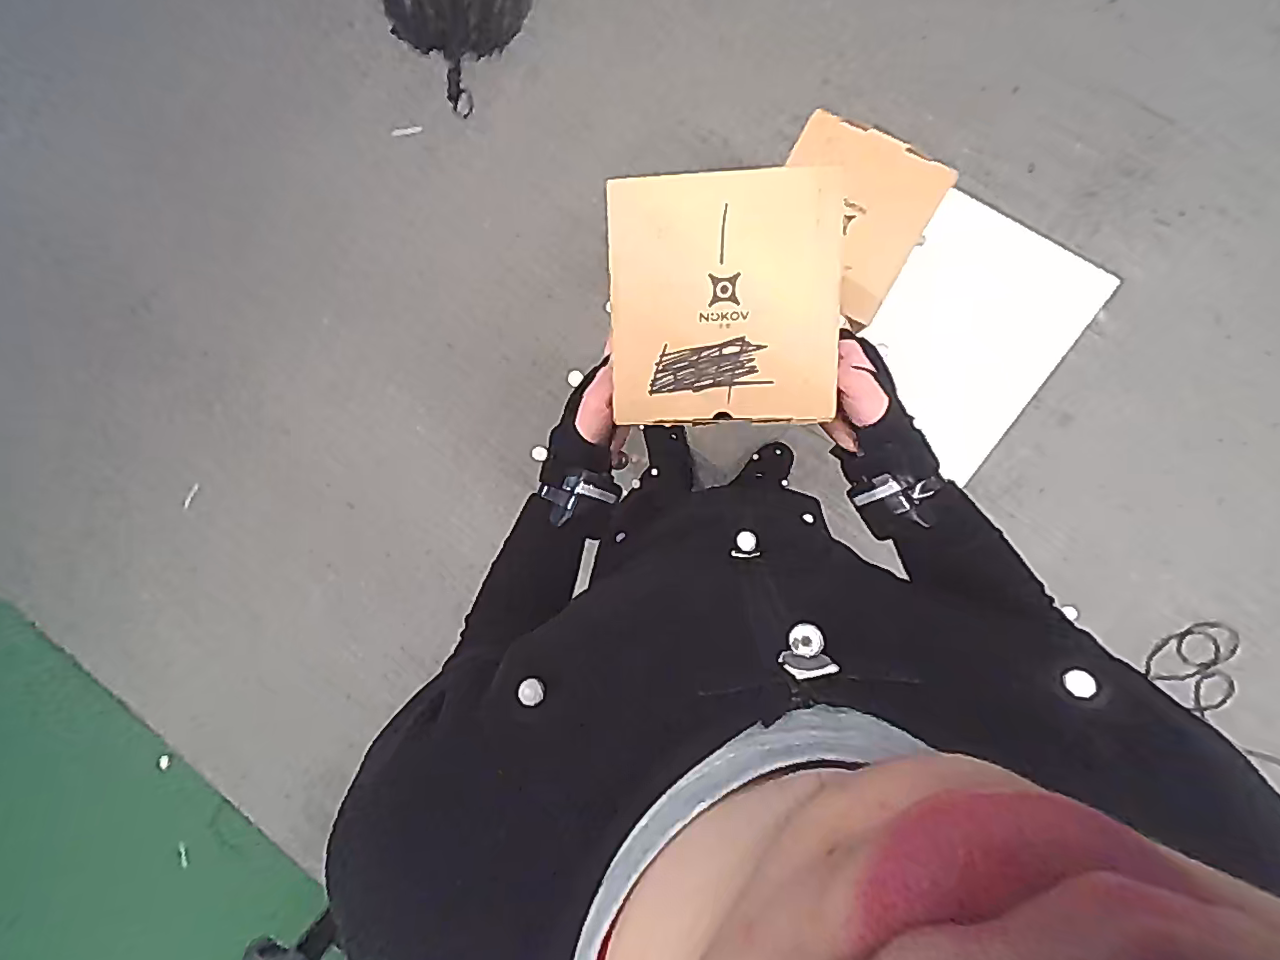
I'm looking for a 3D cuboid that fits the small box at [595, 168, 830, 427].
[{"bbox_3d":[0.061,-0.141,0.470,0.168,0.176,0.179,0,100,7],"label":"small box"}]

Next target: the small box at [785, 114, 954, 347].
[{"bbox_3d":[0.229,-0.283,0.655,0.168,0.176,0.179,30,101,7],"label":"small box"}]
